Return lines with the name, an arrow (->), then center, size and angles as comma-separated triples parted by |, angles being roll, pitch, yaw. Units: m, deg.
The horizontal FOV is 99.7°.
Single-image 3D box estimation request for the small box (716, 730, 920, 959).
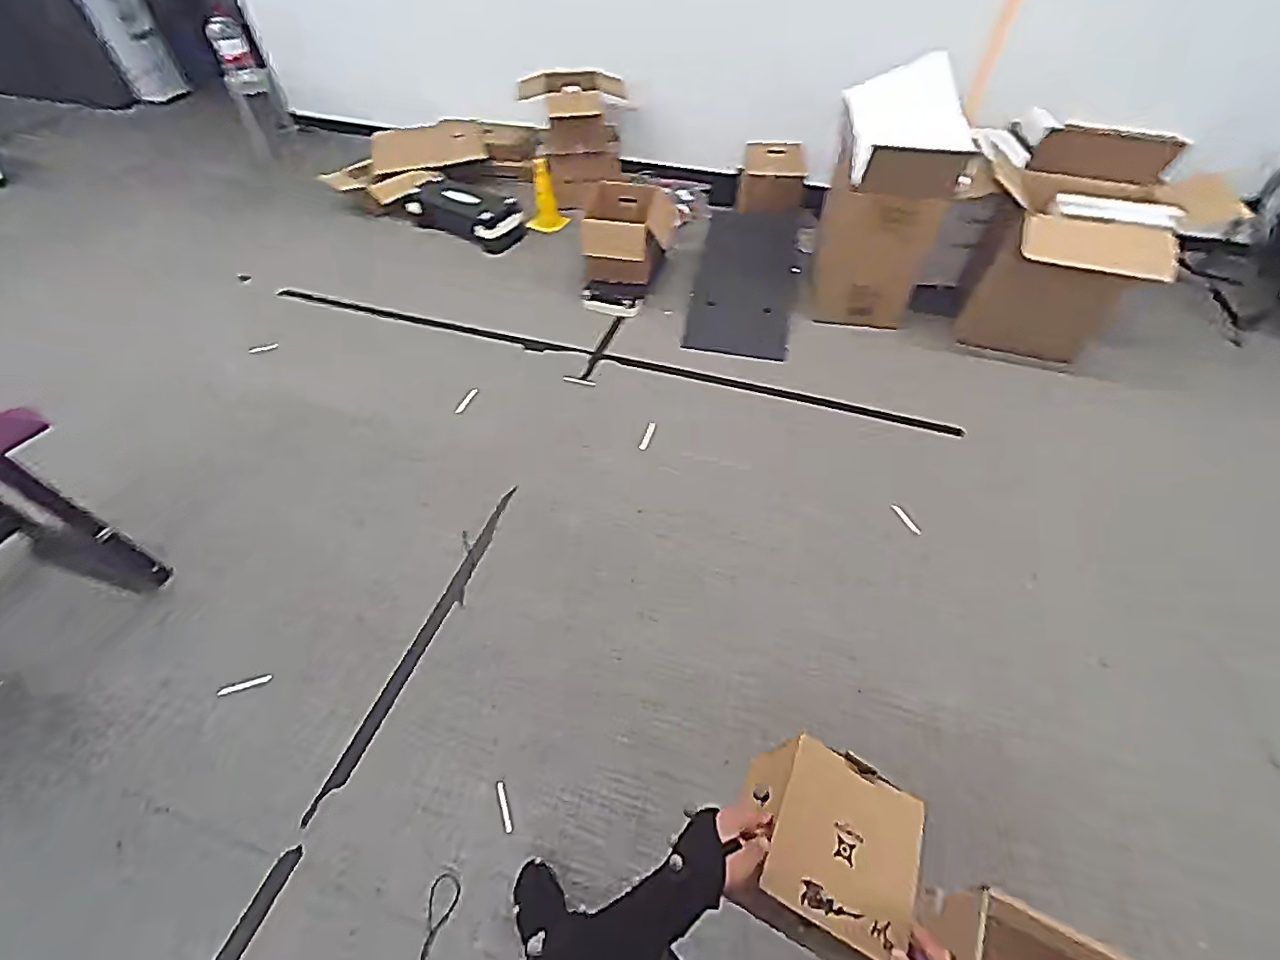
small box -> 0.211, 0.448, 0.665 | 0.168, 0.176, 0.179 | 27, 52, 8
